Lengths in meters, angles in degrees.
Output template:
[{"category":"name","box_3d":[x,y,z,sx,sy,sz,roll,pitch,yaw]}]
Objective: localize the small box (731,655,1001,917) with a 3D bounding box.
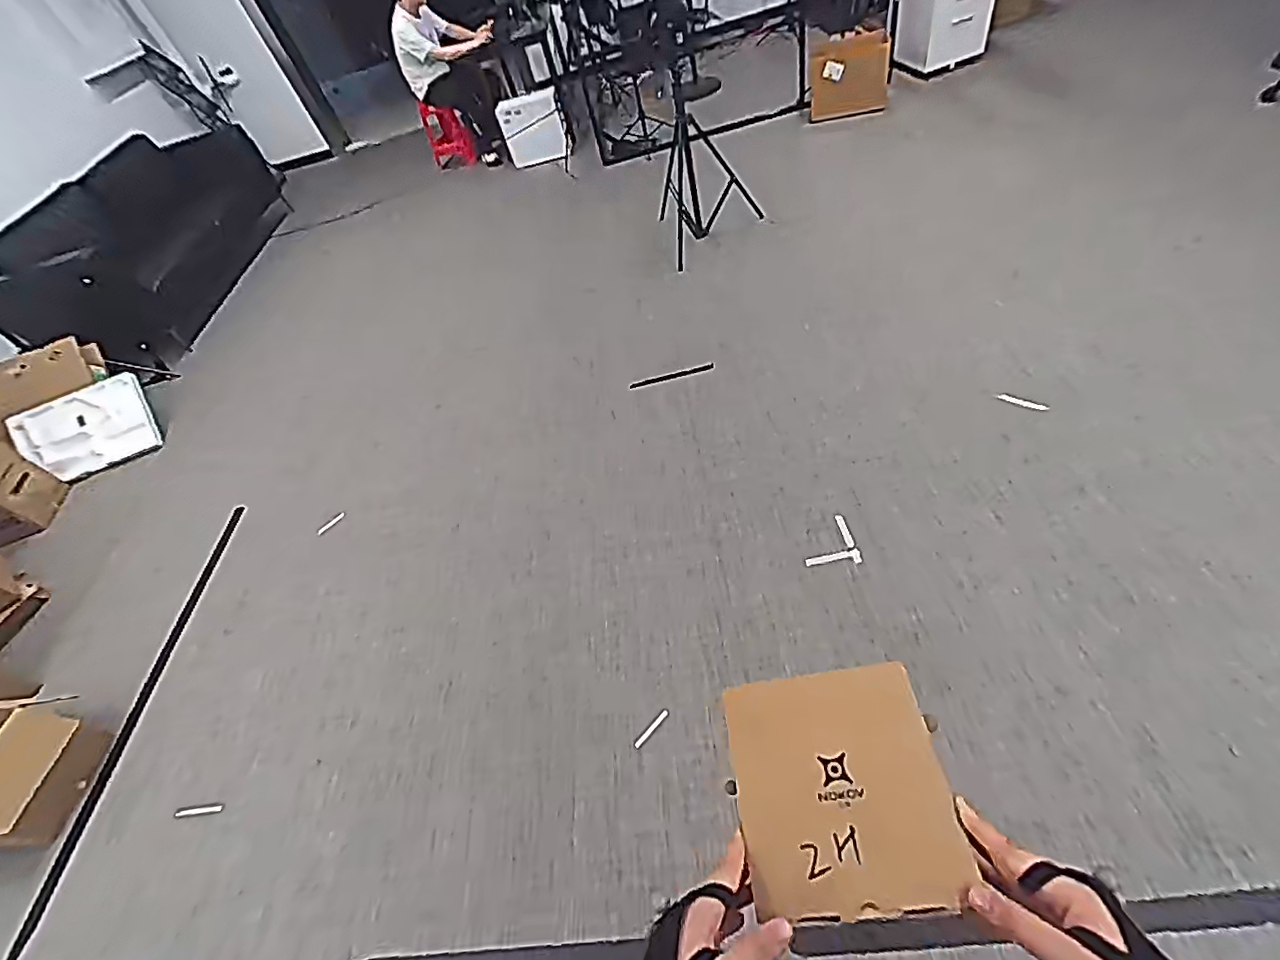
[{"category":"small box","box_3d":[0.187,0.285,0.498,0.168,0.176,0.179,-14,52,11]}]
